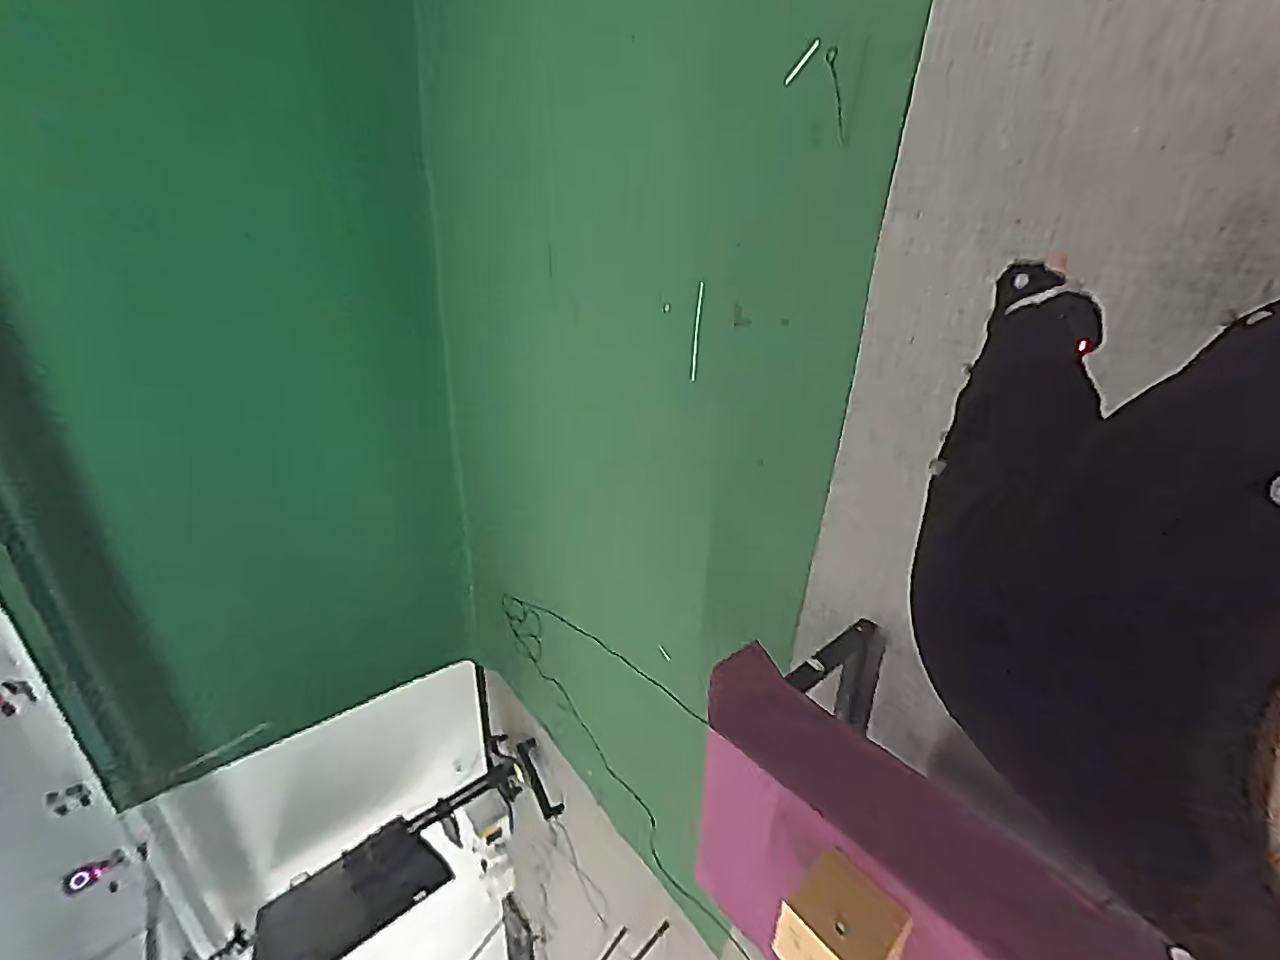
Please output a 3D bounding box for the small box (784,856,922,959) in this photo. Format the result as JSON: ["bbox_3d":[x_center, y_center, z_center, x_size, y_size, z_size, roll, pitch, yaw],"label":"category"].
[{"bbox_3d":[0.405,0.877,1.028,0.179,0.176,0.168,26,123,44],"label":"small box"}]
